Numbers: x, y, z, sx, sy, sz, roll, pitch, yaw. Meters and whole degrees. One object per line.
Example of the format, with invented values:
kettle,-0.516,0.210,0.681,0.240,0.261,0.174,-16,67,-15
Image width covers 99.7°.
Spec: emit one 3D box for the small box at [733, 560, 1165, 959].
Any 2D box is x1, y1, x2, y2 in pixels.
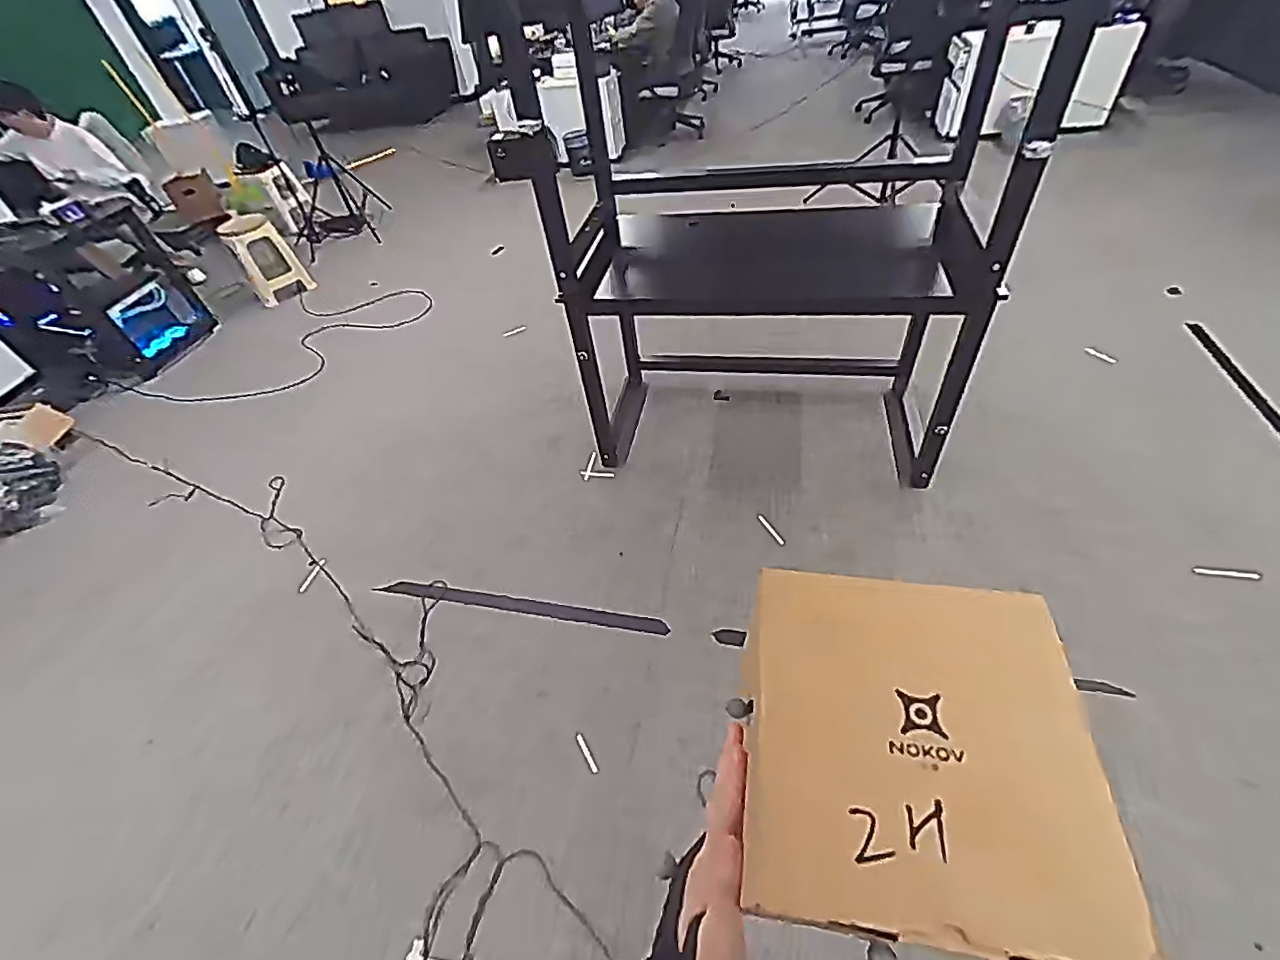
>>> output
small box,0.148,0.174,0.340,0.168,0.176,0.179,4,52,9
